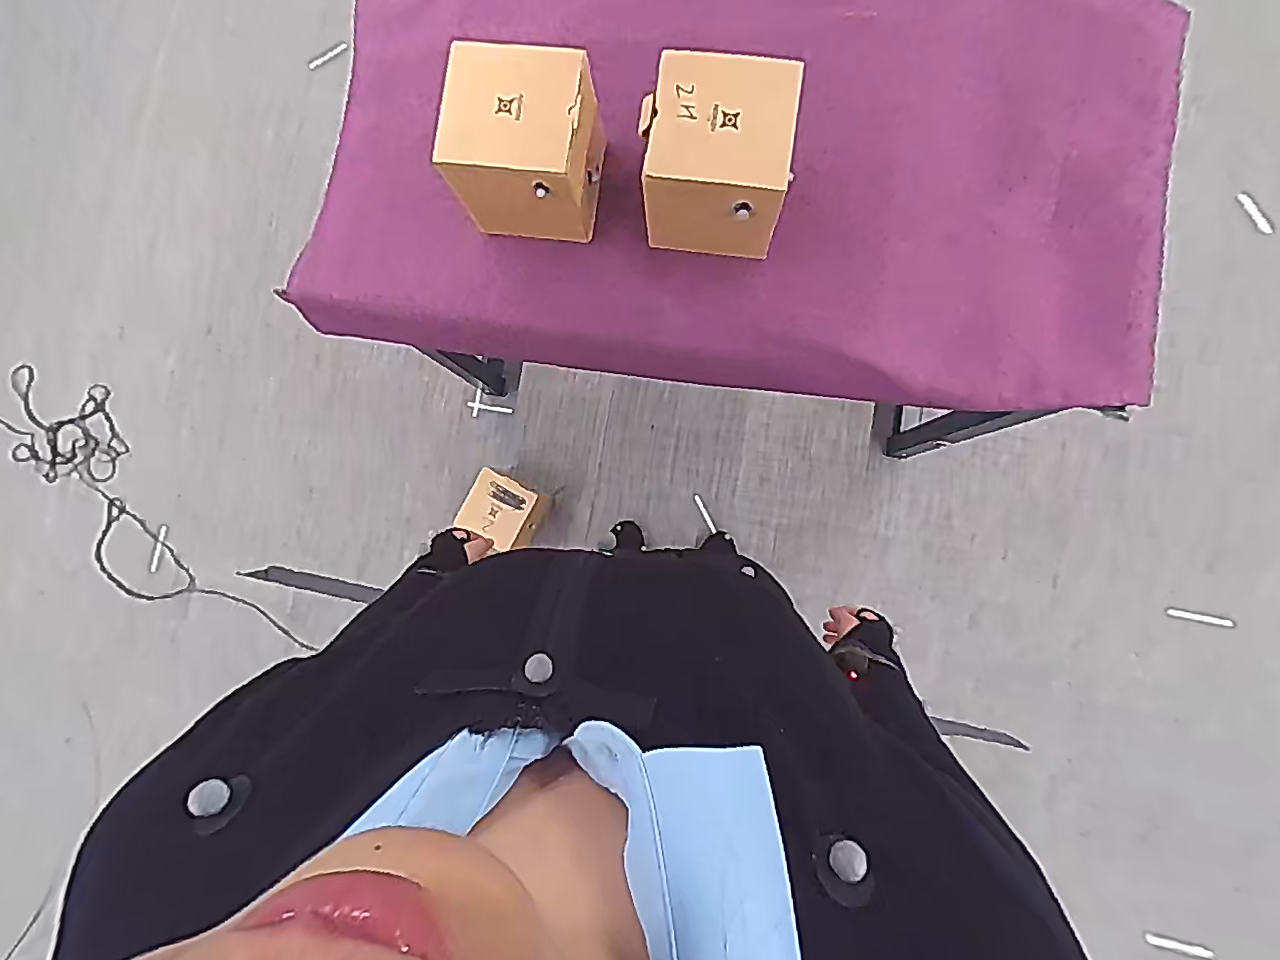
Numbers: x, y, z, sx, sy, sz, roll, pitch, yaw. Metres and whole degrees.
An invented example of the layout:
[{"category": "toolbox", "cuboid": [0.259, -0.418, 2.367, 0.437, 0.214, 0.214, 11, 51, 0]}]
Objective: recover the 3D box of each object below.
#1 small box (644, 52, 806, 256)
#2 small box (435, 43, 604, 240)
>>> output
[{"category": "small box", "cuboid": [0.108, -0.423, 0.728, 0.179, 0.176, 0.168, 8, 85, 5]}, {"category": "small box", "cuboid": [-0.155, -0.457, 0.753, 0.179, 0.176, 0.168, 7, 86, 4]}]
